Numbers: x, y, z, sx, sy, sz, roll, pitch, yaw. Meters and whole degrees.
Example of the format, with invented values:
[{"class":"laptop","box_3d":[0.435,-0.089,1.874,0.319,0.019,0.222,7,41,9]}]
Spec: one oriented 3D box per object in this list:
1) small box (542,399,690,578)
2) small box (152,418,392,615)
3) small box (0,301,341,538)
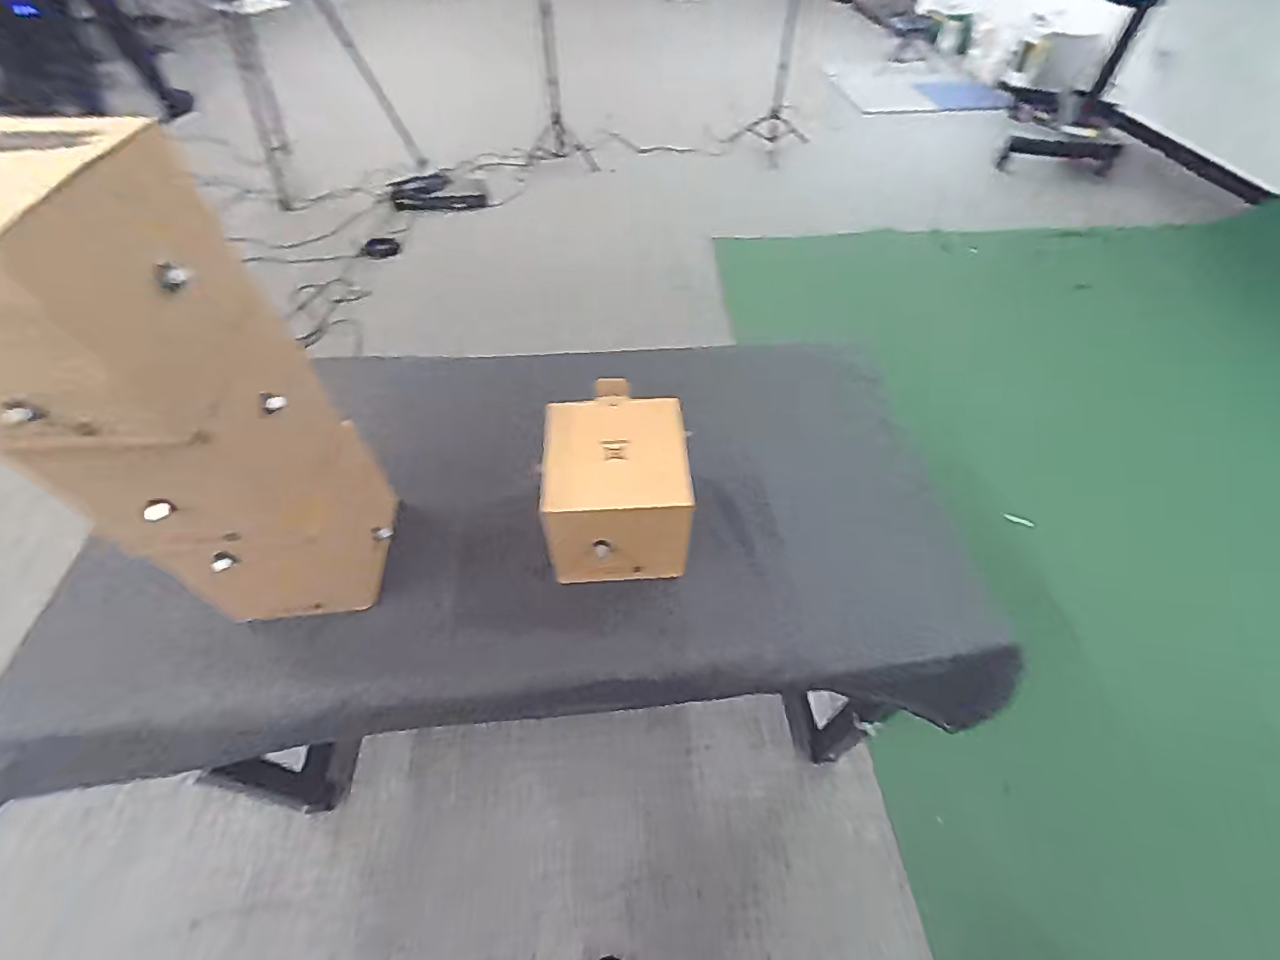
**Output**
[{"class":"small box","box_3d":[-0.029,0.018,0.702,0.168,0.176,0.179,-2,50,-3]},{"class":"small box","box_3d":[-0.425,0.046,0.667,0.168,0.176,0.179,-4,51,-5]},{"class":"small box","box_3d":[-0.427,-0.053,0.535,0.168,0.176,0.179,-3,51,-5]}]
